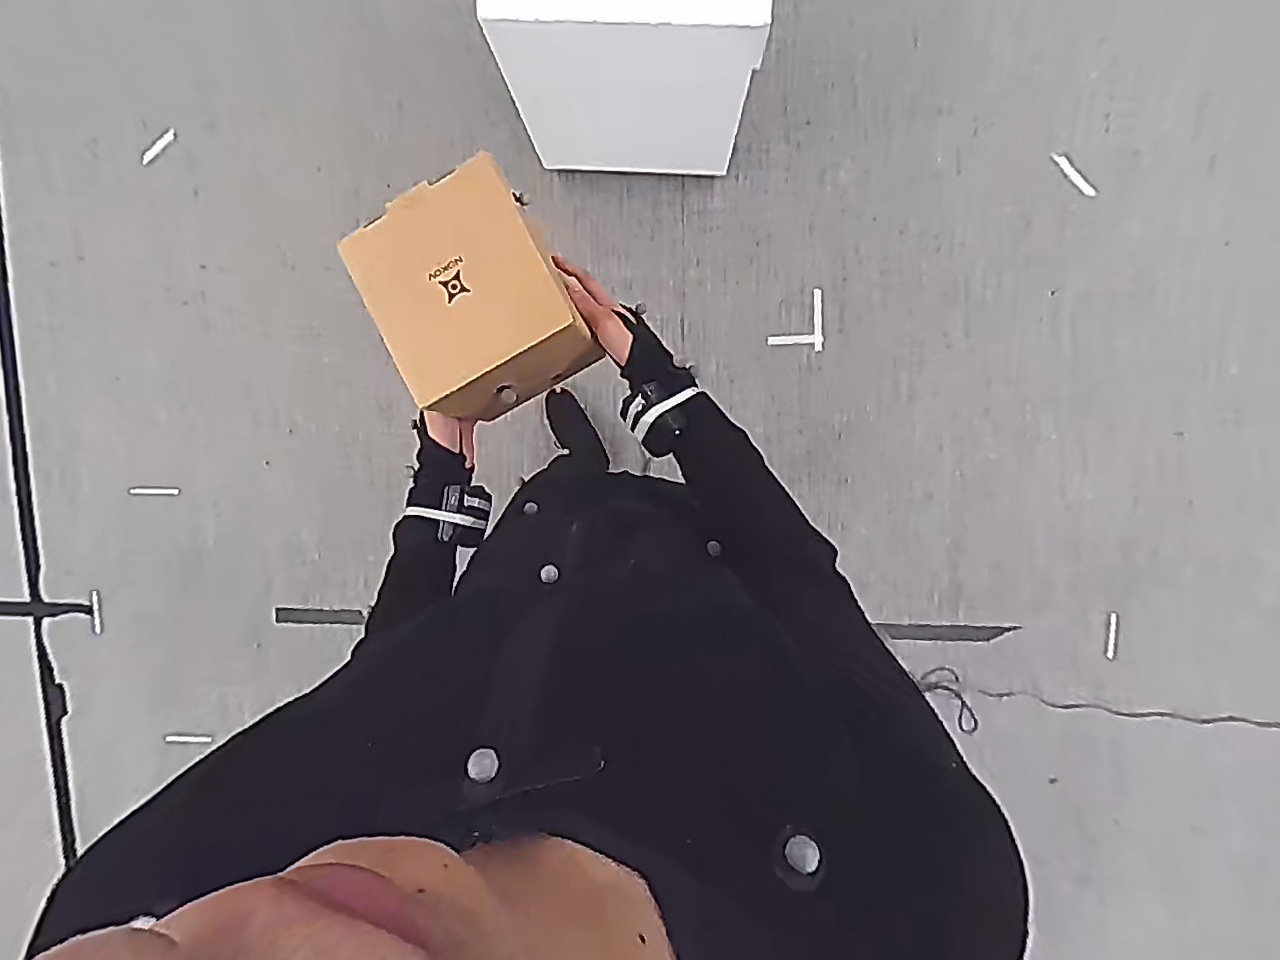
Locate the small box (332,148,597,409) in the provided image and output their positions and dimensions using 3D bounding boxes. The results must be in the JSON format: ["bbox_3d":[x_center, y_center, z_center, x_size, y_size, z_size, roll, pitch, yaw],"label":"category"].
[{"bbox_3d":[-0.163,-0.185,0.563,0.168,0.176,0.179,-29,88,7],"label":"small box"}]
